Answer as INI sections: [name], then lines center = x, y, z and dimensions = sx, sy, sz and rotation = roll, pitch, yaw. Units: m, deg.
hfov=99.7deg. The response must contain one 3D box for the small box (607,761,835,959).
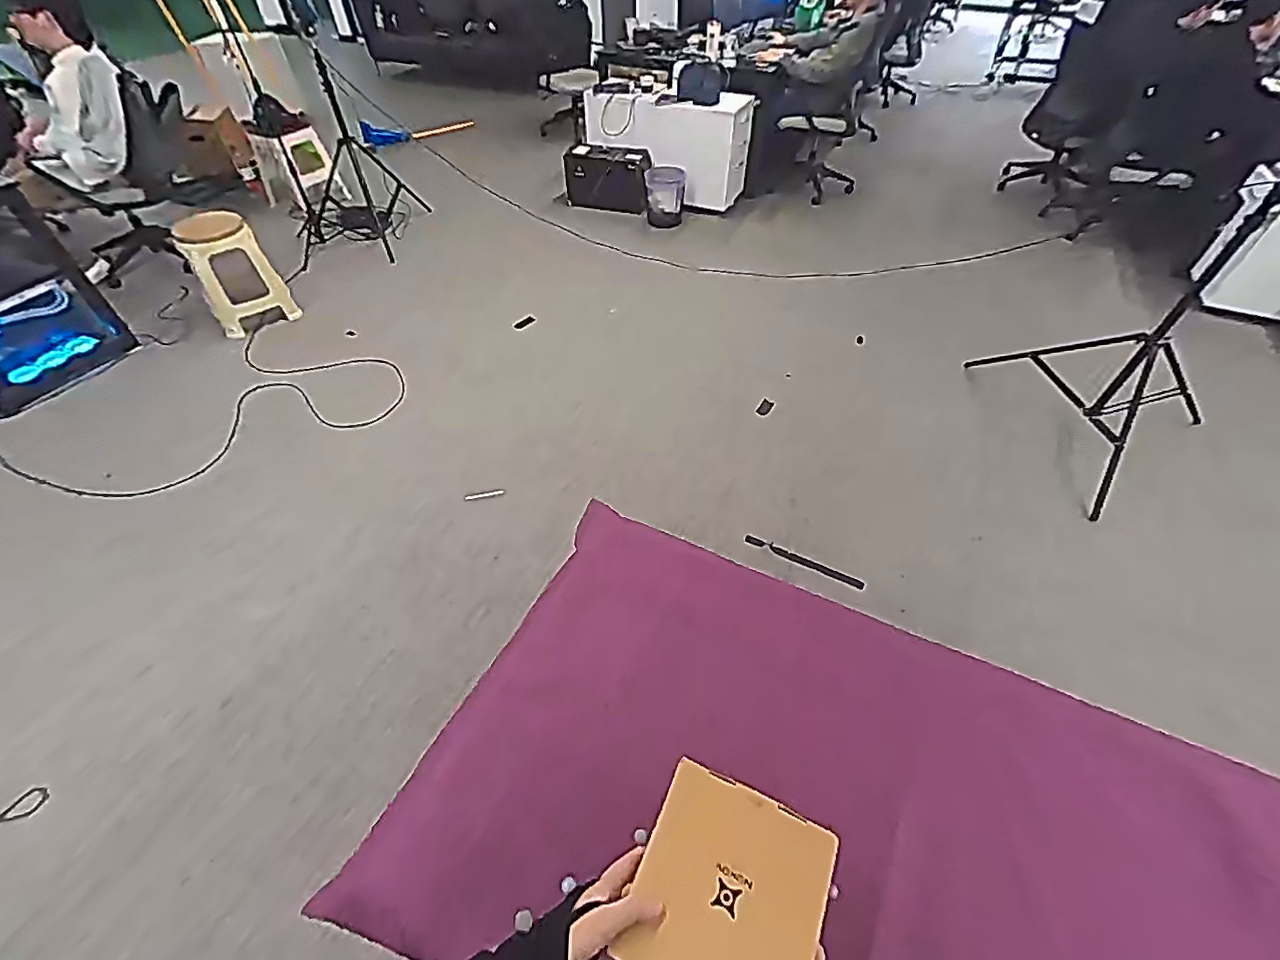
[small box]
center = 0.082, 0.435, 0.556
dimensions = 0.168, 0.176, 0.179
rotation = 20, 50, 17
